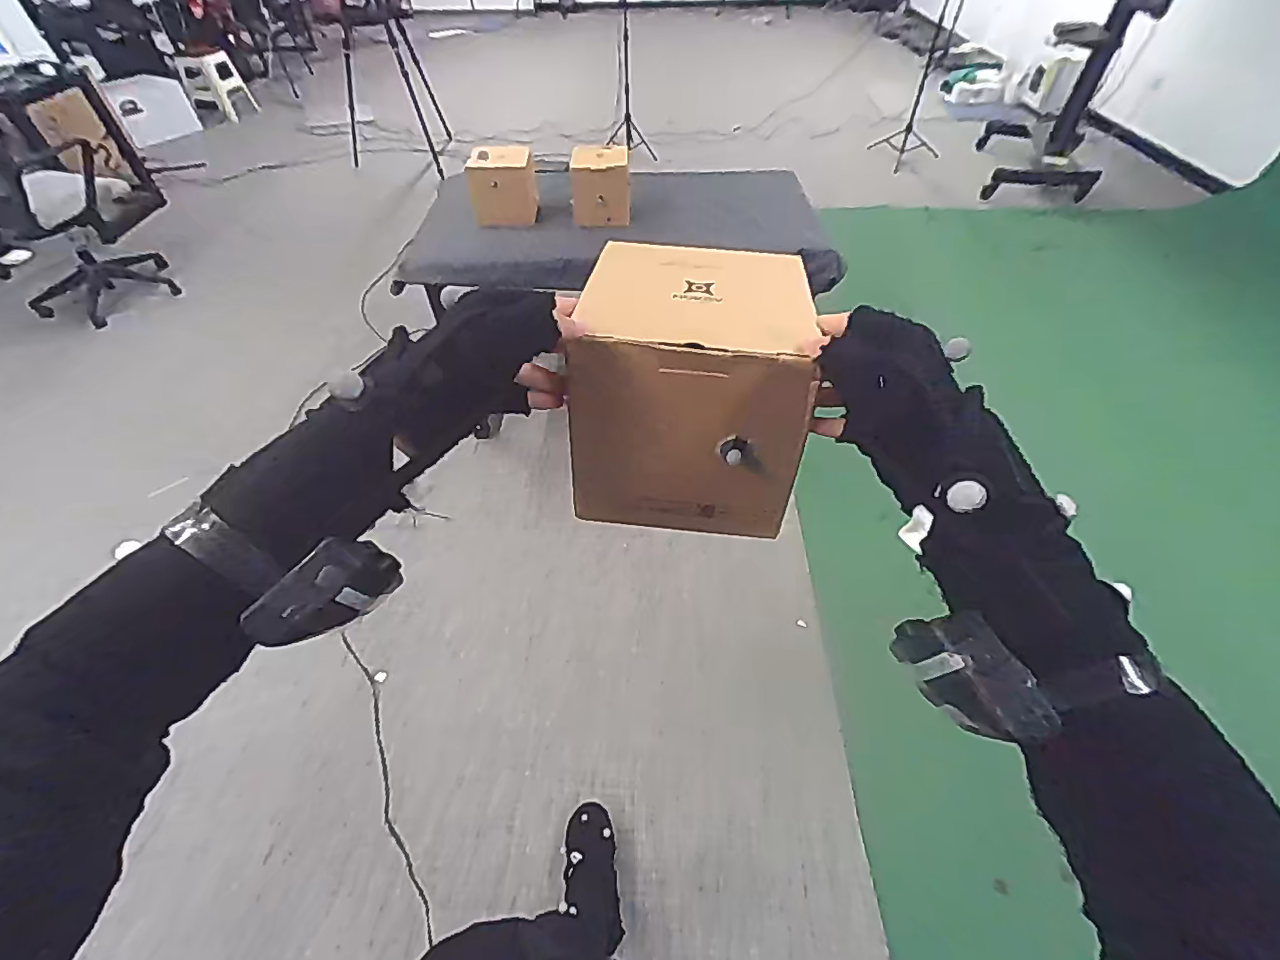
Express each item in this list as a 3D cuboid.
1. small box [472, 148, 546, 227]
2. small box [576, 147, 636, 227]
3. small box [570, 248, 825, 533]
[{"bbox_3d":[-0.390,-0.884,1.636,0.179,0.176,0.168,-1,49,-2],"label":"small box"},{"bbox_3d":[-0.097,-0.881,1.632,0.168,0.176,0.179,0,49,1],"label":"small box"},{"bbox_3d":[0.043,-0.076,0.455,0.168,0.176,0.179,7,41,3],"label":"small box"}]
